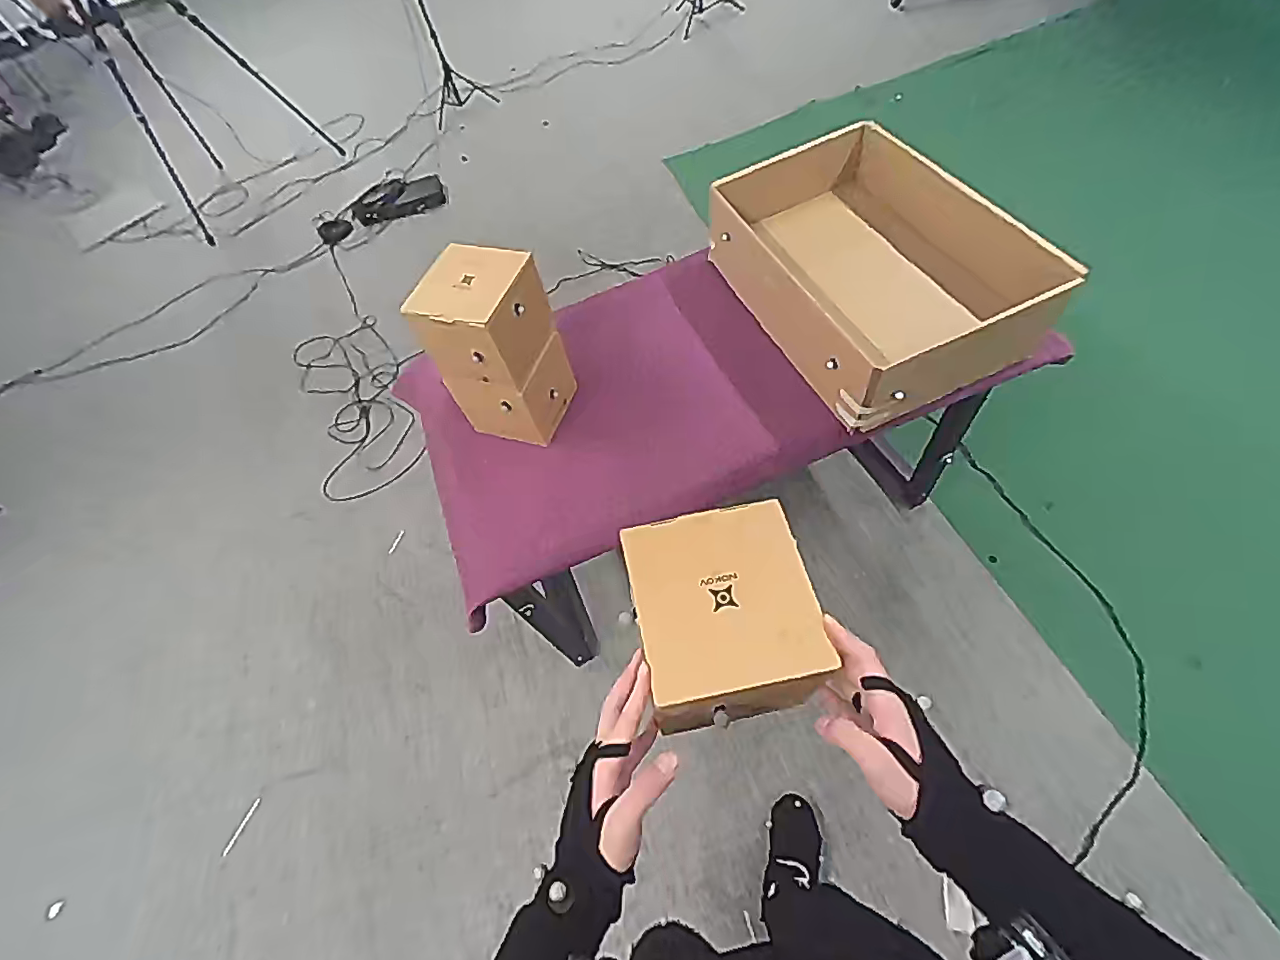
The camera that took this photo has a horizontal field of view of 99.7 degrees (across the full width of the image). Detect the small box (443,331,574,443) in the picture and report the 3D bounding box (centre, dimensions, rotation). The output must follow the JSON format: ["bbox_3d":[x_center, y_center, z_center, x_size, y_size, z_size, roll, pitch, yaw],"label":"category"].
[{"bbox_3d":[-0.253,-0.194,1.091,0.179,0.176,0.168,13,62,17],"label":"small box"}]

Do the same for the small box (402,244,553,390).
[{"bbox_3d":[-0.272,-0.283,0.955,0.168,0.176,0.179,14,62,16],"label":"small box"}]

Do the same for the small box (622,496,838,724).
[{"bbox_3d":[0.083,0.145,0.569,0.168,0.176,0.179,-11,56,-3],"label":"small box"}]
